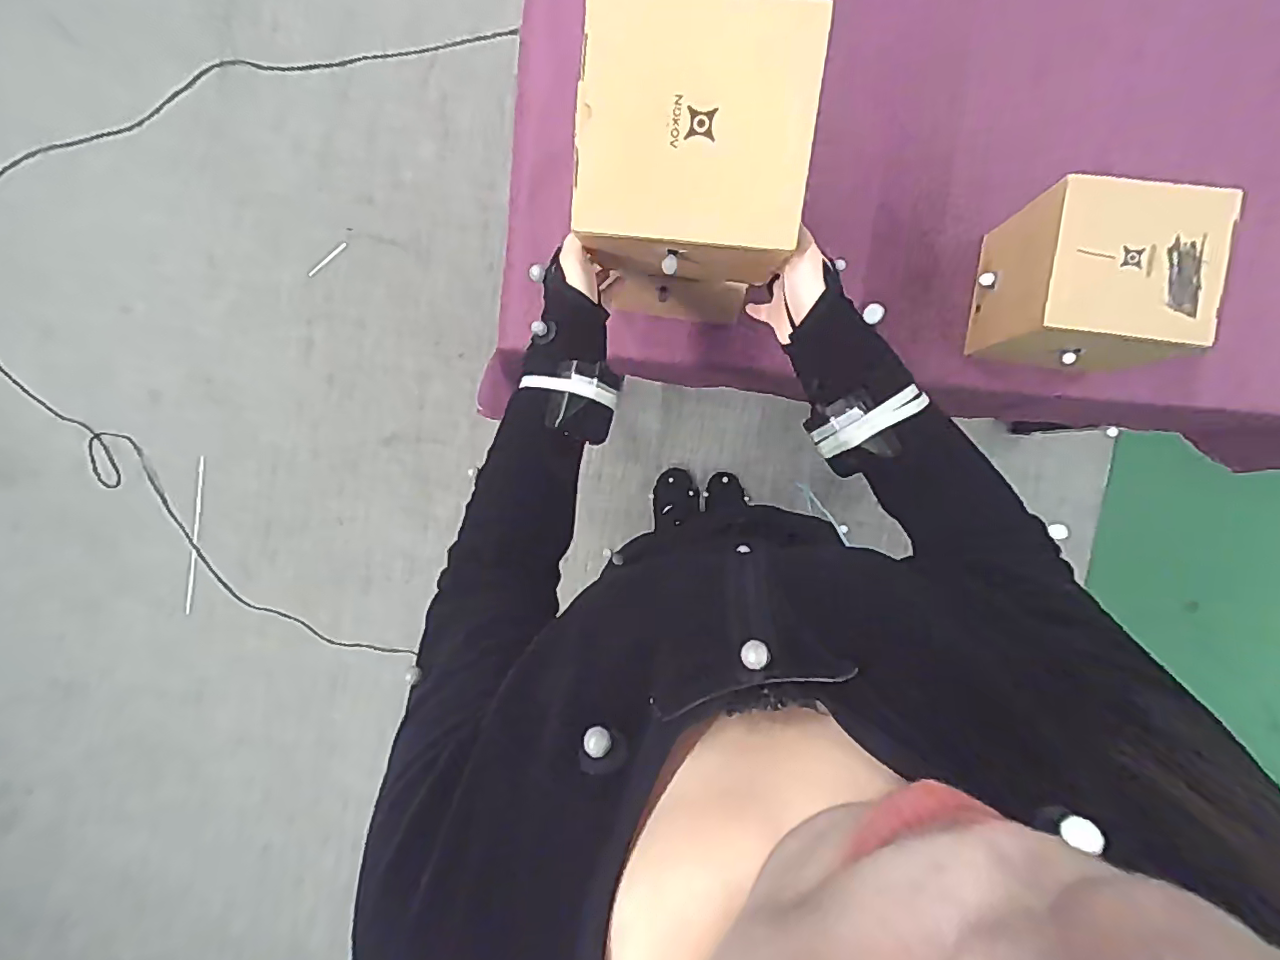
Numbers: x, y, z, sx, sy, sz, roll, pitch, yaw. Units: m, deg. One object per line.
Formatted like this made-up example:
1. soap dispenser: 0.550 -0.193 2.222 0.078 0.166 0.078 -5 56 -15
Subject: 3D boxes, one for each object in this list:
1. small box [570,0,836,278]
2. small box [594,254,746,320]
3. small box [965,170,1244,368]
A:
1. small box: 0.047 -0.275 0.468 0.179 0.176 0.168 7 104 4
2. small box: 0.052 -0.310 0.680 0.179 0.176 0.168 9 93 5
3. small box: 0.531 -0.236 0.646 0.179 0.176 0.168 9 93 5
